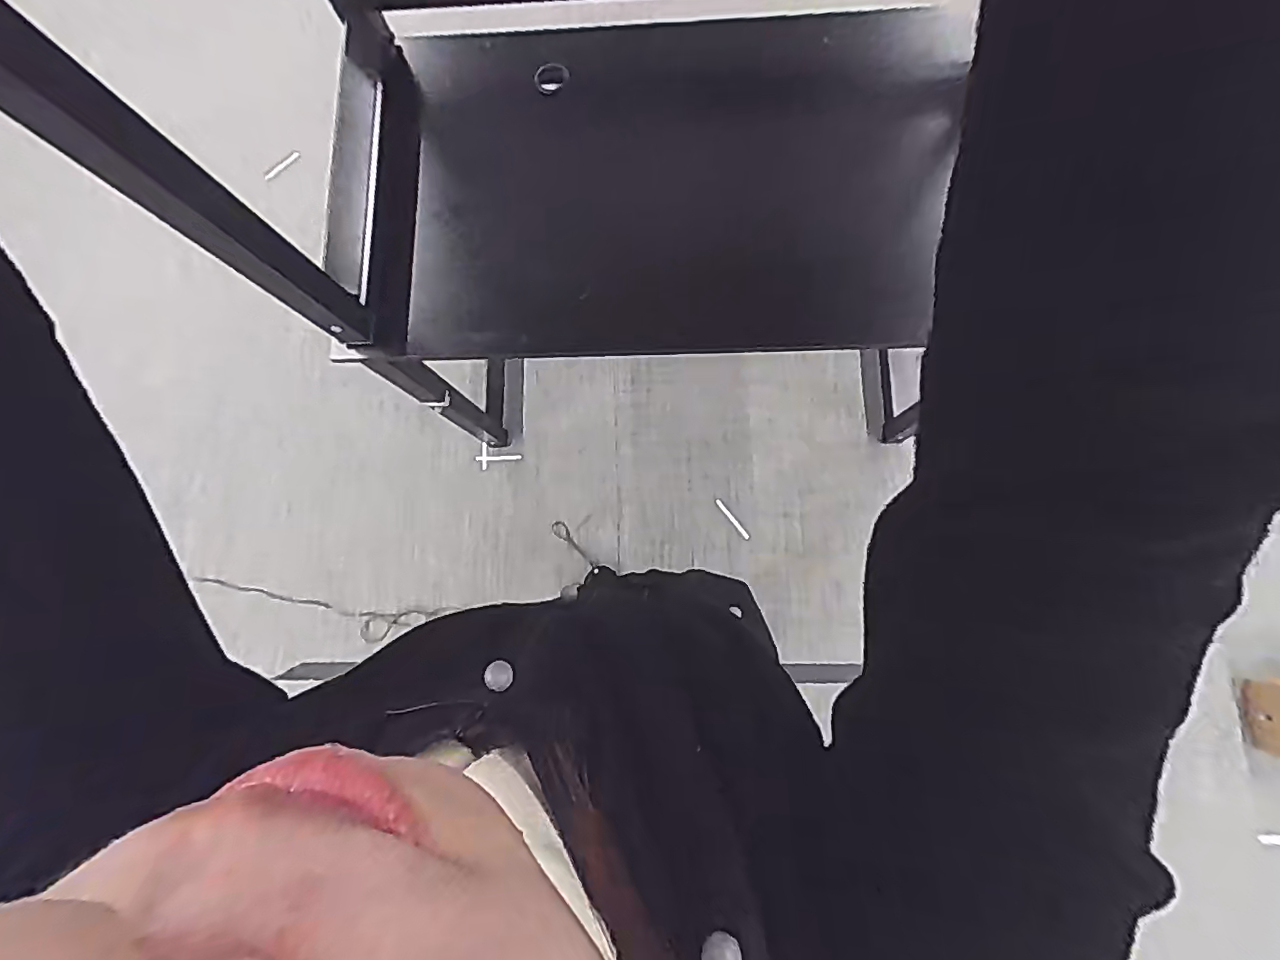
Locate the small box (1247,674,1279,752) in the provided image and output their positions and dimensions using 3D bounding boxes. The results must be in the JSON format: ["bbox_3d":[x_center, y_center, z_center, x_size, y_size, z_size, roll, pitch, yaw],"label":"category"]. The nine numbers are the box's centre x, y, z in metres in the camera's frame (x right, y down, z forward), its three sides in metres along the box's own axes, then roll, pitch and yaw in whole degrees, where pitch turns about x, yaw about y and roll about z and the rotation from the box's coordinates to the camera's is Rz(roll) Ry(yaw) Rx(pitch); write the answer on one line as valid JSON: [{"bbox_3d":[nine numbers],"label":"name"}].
[{"bbox_3d":[1.611,0.569,1.274,0.168,0.176,0.179,-2,82,3],"label":"small box"}]
